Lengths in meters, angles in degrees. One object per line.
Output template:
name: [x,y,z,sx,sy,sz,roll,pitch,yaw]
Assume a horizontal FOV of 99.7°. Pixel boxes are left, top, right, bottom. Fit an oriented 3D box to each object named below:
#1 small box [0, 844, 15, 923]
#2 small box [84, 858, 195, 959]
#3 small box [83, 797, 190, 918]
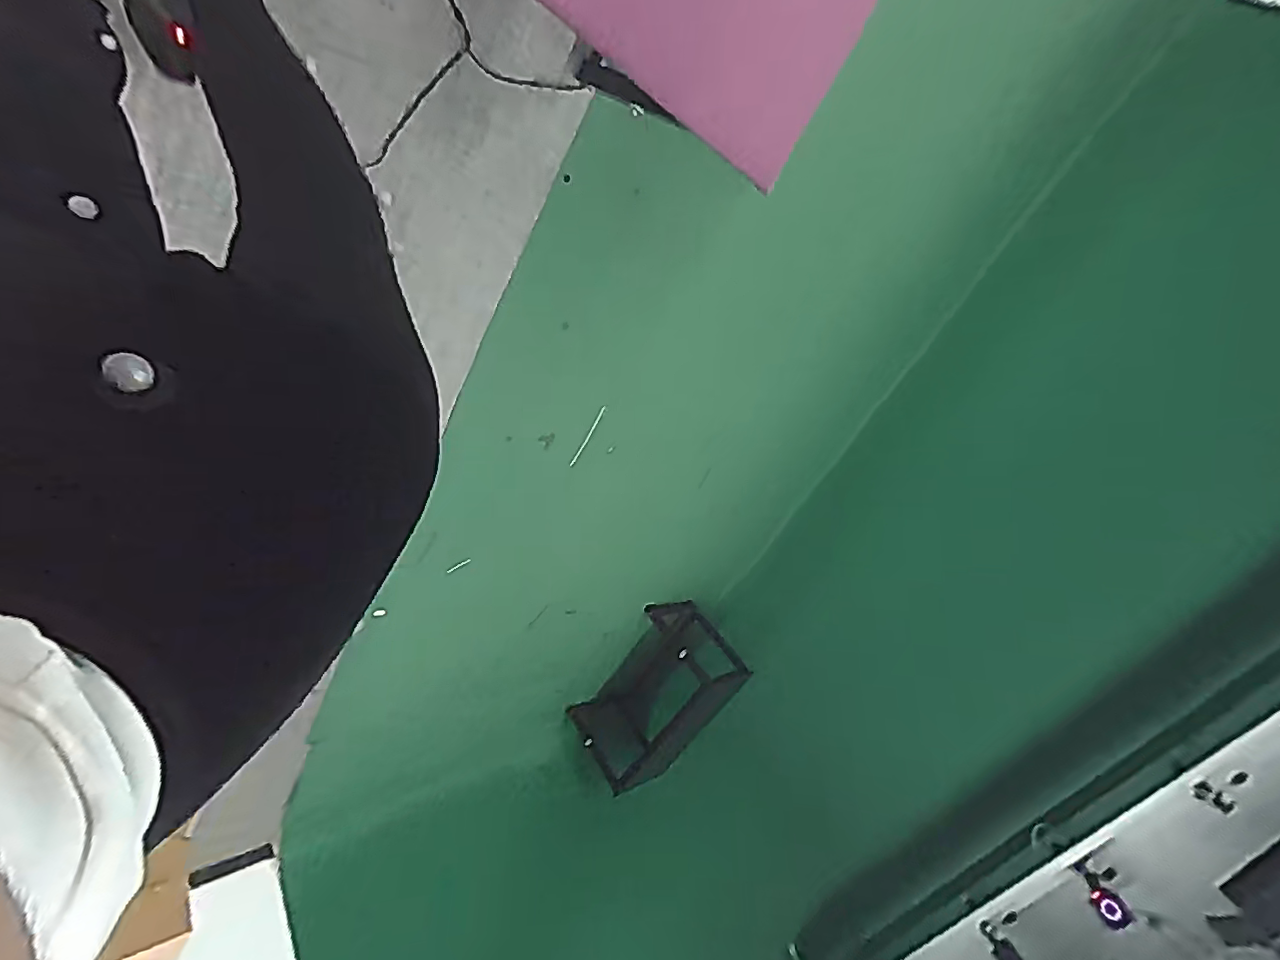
small box: [-1.494,0.927,1.167,0.168,0.176,0.179,14,117,-51]
small box: [-1.214,1.069,1.311,0.168,0.176,0.179,13,119,-52]
small box: [-1.304,0.969,1.402,0.168,0.176,0.179,14,117,-52]
